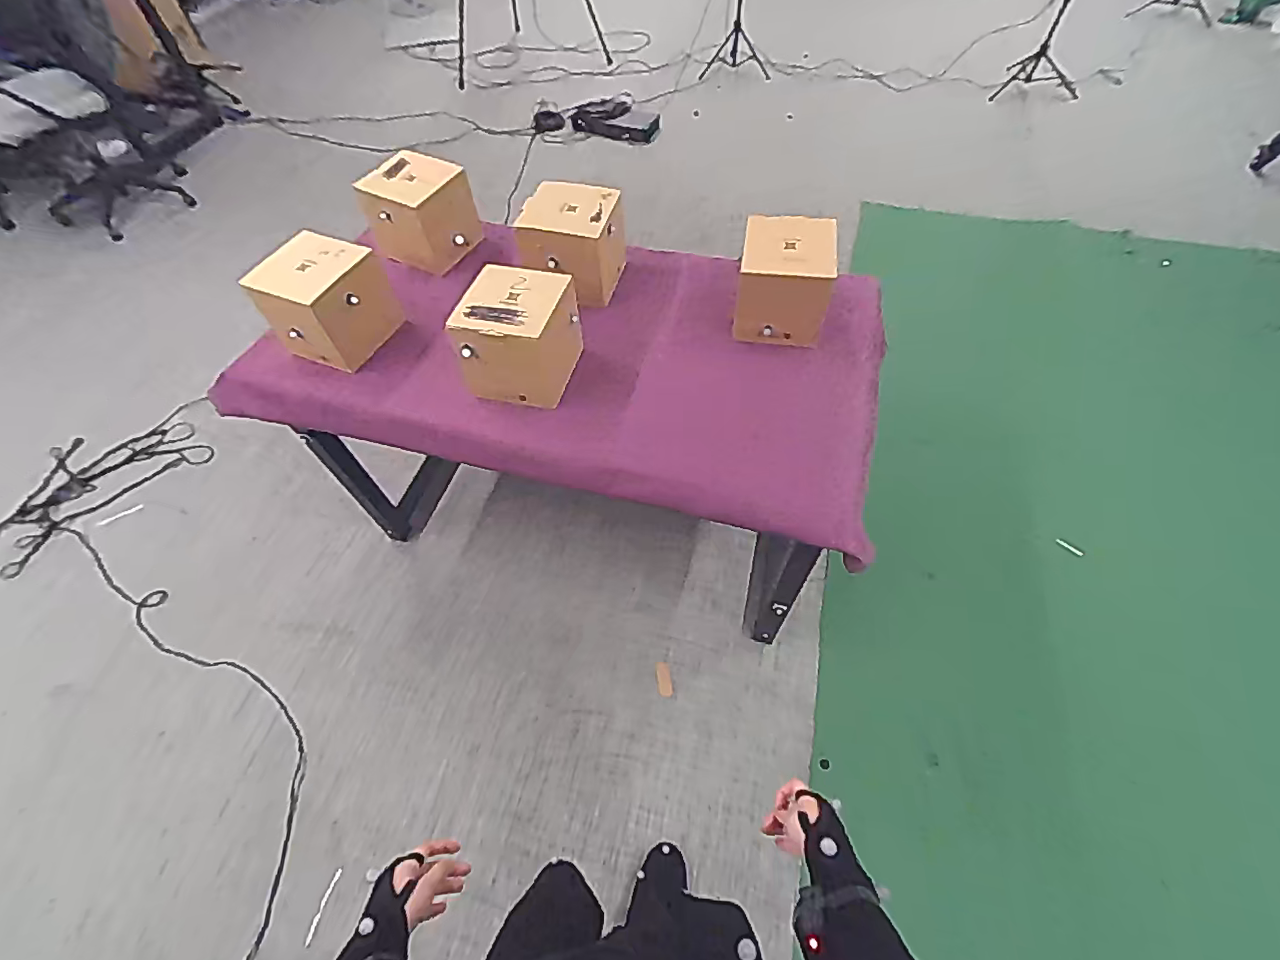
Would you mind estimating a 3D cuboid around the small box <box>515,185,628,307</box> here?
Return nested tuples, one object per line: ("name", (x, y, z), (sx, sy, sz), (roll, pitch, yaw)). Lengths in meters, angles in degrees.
("small box", (-0.133, -0.484, 1.127), (0.179, 0.176, 0.168), (12, 60, 10))

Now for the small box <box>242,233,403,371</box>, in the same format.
("small box", (-0.595, -0.339, 1.043), (0.168, 0.176, 0.179), (20, 59, 13))

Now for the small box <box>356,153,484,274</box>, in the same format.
("small box", (-0.479, -0.589, 1.205), (0.179, 0.176, 0.168), (24, 62, 15))

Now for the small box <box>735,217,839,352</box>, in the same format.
("small box", (0.278, -0.375, 1.043), (0.168, 0.176, 0.179), (8, 59, 9))
